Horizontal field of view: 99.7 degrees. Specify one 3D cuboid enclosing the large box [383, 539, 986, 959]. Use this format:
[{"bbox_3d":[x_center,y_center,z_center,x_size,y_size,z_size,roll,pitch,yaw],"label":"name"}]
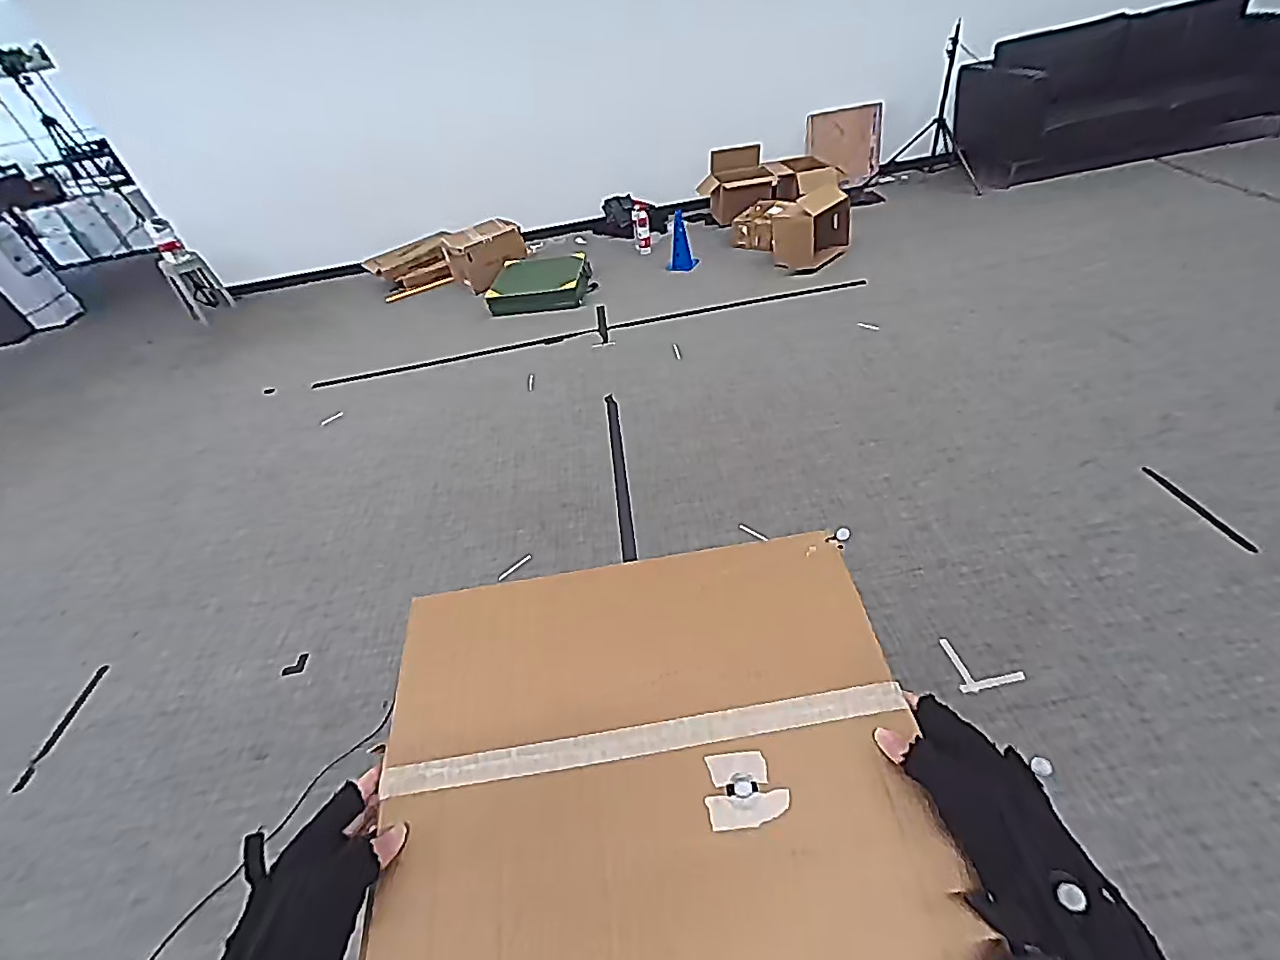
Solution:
[{"bbox_3d":[0.021,0.300,0.548,0.408,0.320,0.320,-9,52,0],"label":"large box"}]
